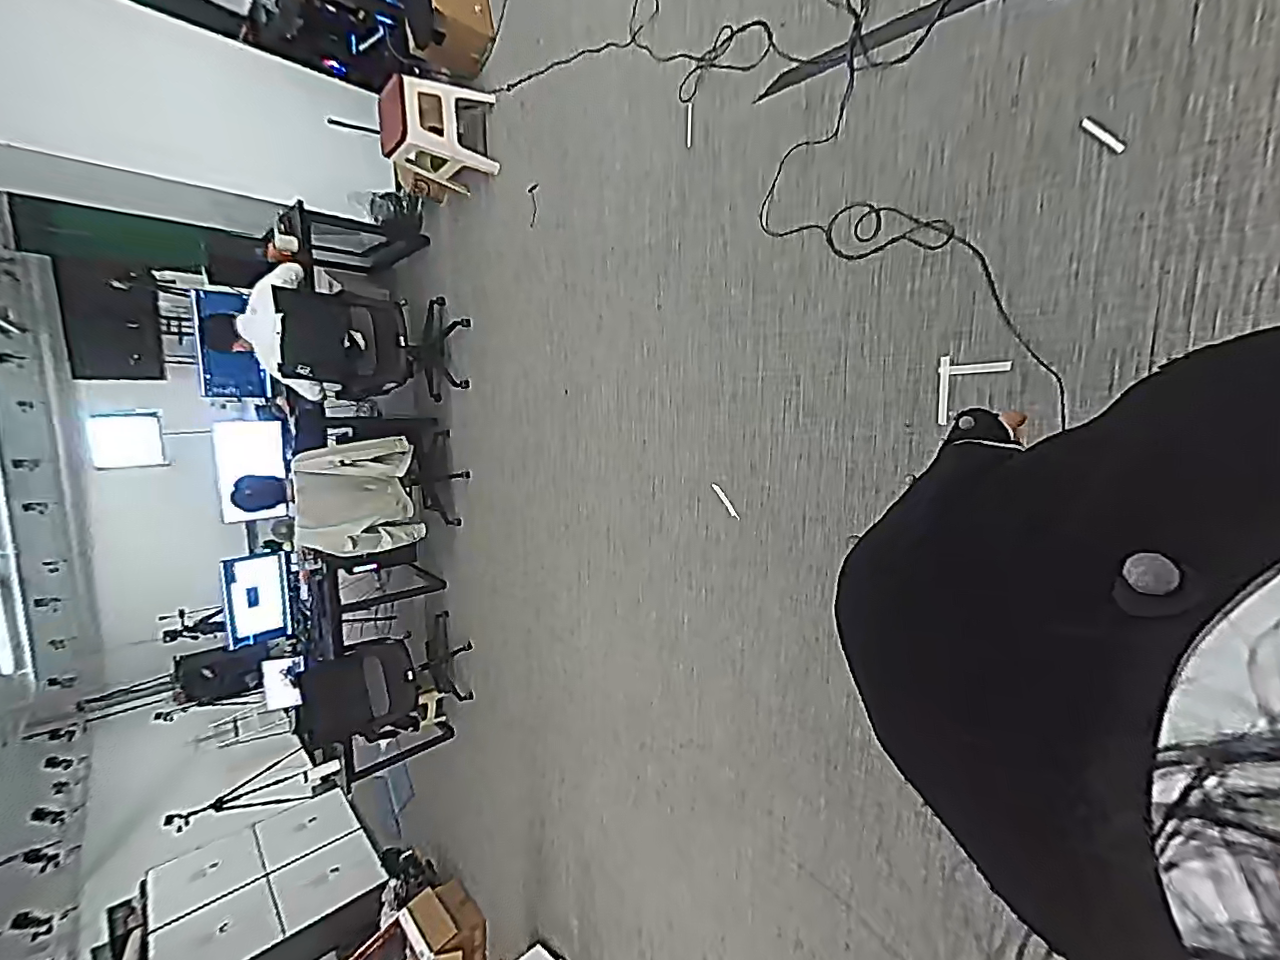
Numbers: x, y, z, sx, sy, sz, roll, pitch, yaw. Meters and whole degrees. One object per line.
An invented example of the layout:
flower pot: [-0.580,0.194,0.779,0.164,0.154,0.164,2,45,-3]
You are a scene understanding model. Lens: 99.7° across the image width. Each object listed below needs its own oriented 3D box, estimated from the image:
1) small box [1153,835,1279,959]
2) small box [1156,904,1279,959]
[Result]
small box: [0.773,0.609,0.683,0.168,0.176,0.179,10,101,44]
small box: [0.657,0.620,0.571,0.168,0.176,0.179,9,100,44]
